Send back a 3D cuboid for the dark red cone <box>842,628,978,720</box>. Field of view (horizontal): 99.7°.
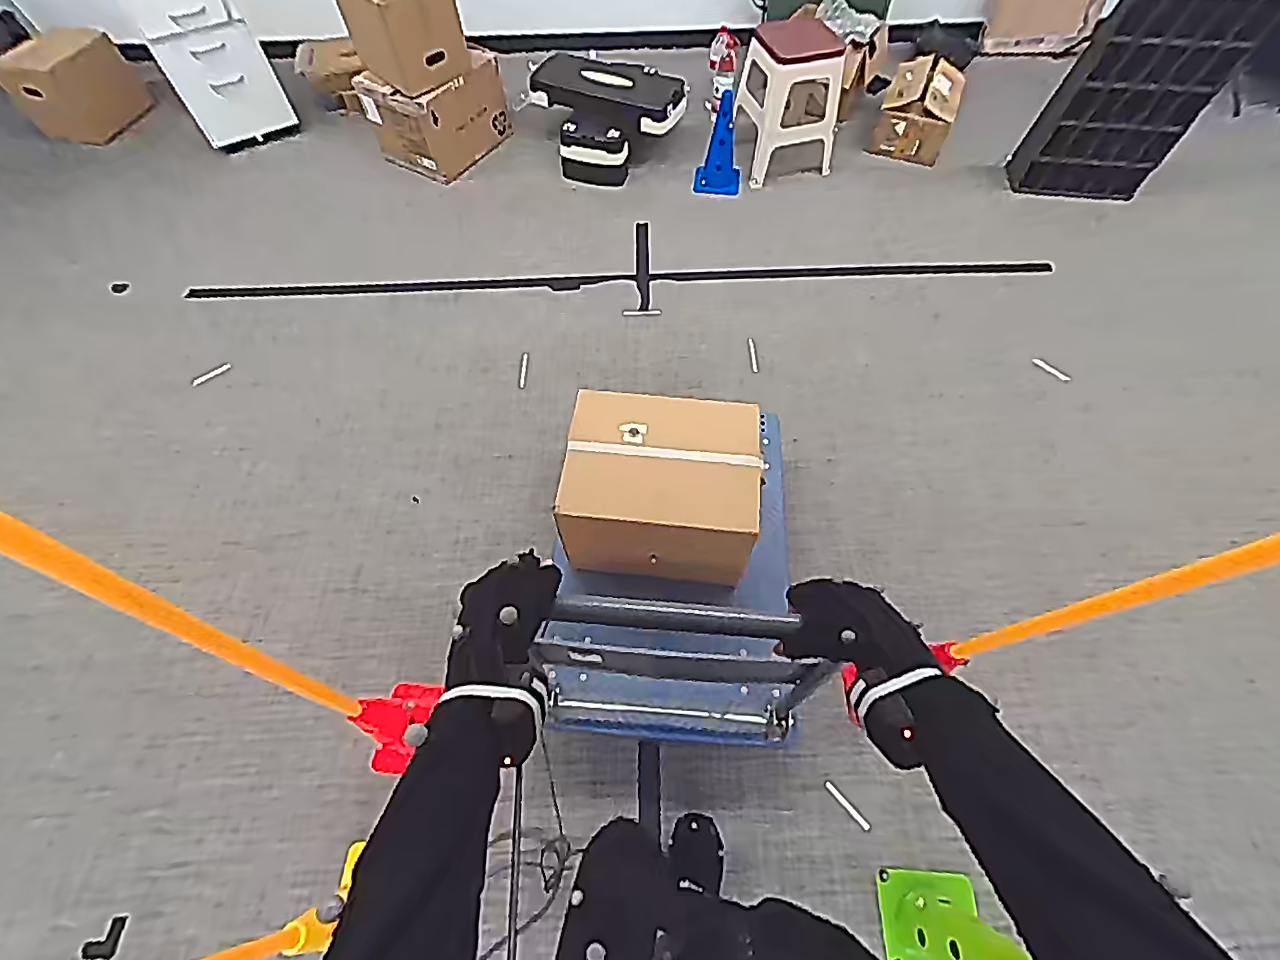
[{"bbox_3d":[0.612,0.399,1.181,0.201,0.394,0.202,-1,60,-1],"label":"dark red cone"}]

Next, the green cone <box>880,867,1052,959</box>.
[{"bbox_3d":[0.602,0.827,0.952,0.202,0.368,0.200,2,60,1],"label":"green cone"}]

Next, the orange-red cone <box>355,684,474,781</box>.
[{"bbox_3d":[-0.516,0.516,1.159,0.198,0.360,0.199,6,58,3],"label":"orange-red cone"}]

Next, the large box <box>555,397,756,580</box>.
[{"bbox_3d":[0.047,0.030,1.260,0.408,0.320,0.320,5,60,4],"label":"large box"}]
